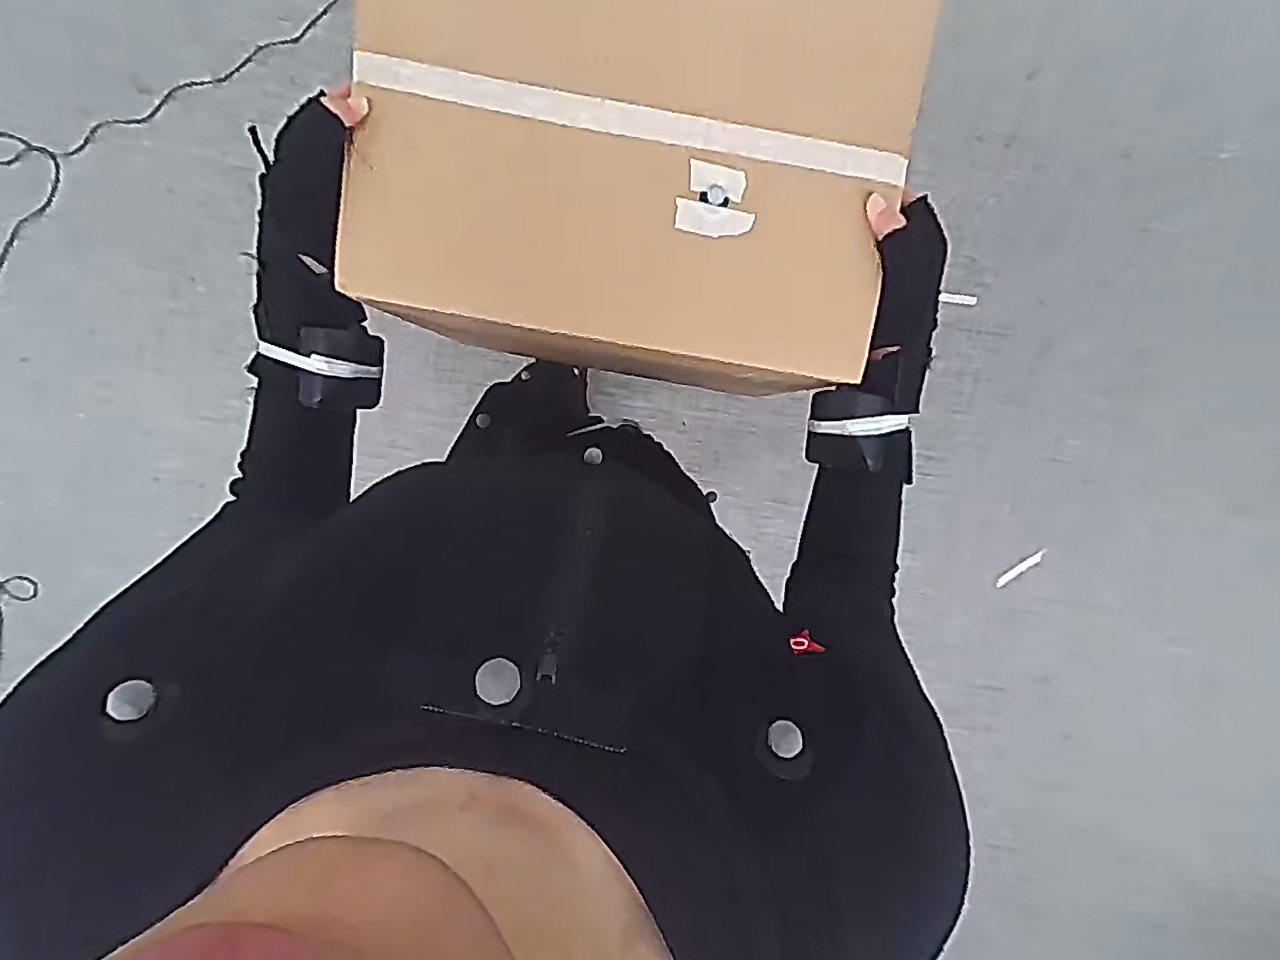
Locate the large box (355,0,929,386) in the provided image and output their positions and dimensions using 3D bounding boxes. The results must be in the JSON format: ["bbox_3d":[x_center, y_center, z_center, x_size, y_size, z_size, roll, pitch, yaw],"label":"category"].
[{"bbox_3d":[-0.007,-0.284,0.551,0.408,0.320,0.320,9,98,-4],"label":"large box"}]
